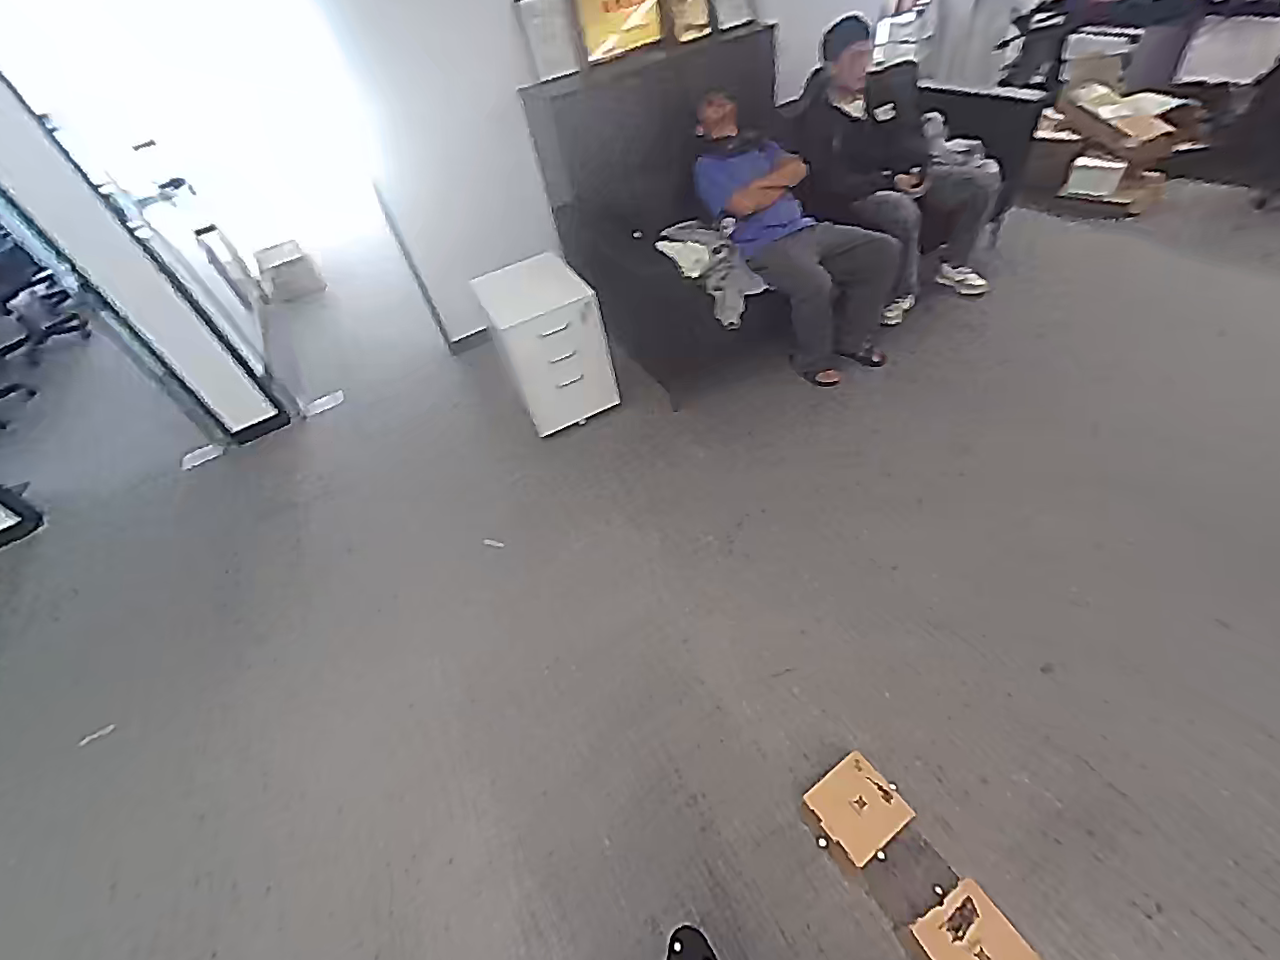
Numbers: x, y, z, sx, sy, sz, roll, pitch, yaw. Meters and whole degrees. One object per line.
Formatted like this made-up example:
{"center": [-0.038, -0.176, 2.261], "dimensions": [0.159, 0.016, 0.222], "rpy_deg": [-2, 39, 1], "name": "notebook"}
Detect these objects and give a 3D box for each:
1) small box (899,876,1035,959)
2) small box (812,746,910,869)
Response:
{"center": [0.639, 0.929, 1.062], "dimensions": [0.168, 0.176, 0.179], "rpy_deg": [-26, 45, -9], "name": "small box"}
{"center": [0.505, 0.760, 1.253], "dimensions": [0.179, 0.176, 0.168], "rpy_deg": [13, 49, 27], "name": "small box"}
